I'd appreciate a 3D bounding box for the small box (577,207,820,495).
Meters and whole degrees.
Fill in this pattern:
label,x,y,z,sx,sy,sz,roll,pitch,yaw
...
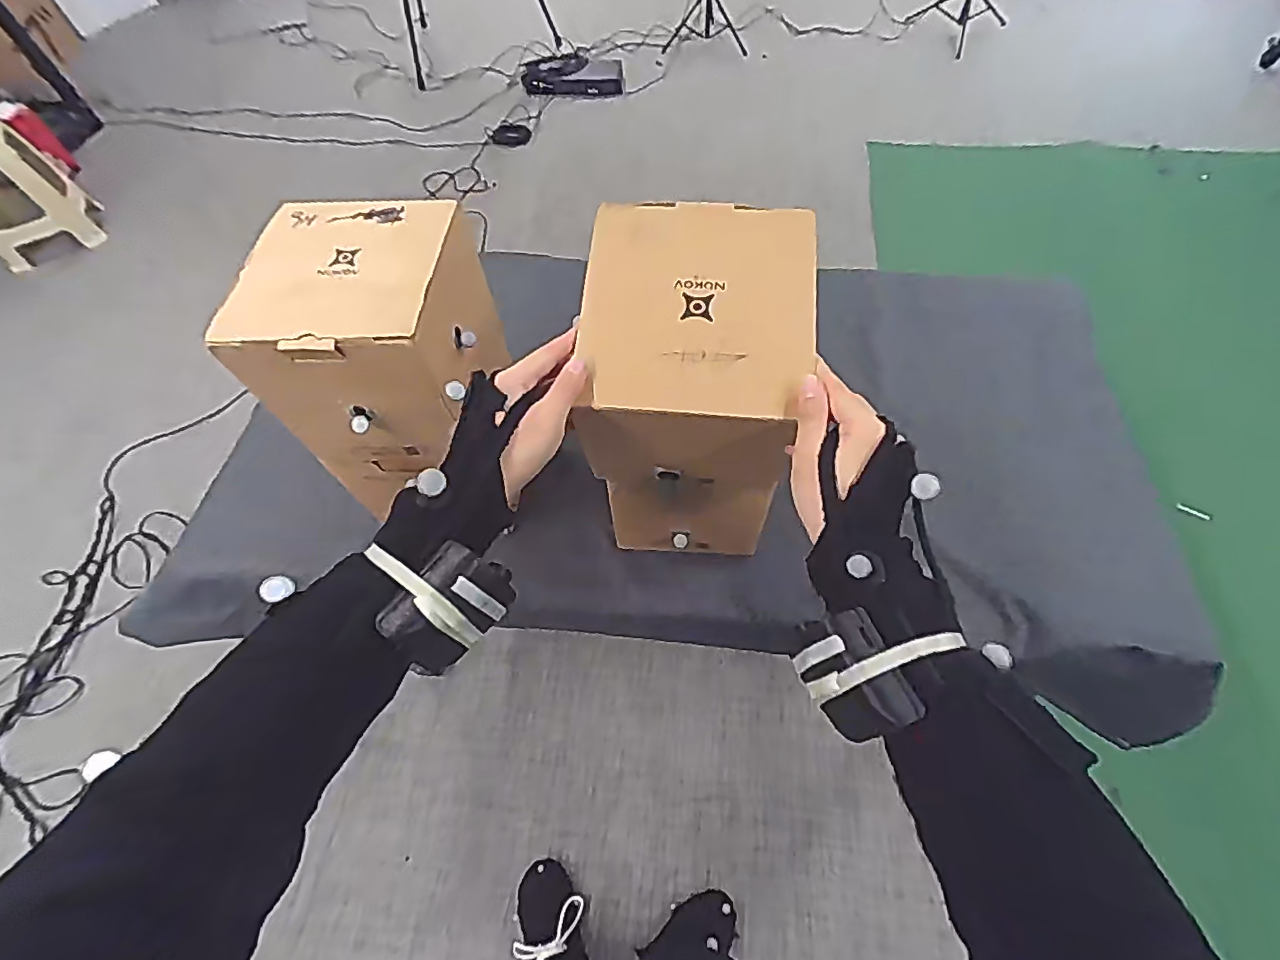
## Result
label,x,y,z,sx,sy,sz,roll,pitch,yaw
small box,0.049,-0.099,0.461,0.168,0.176,0.179,3,72,5

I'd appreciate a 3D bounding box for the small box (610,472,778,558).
label,x,y,z,sx,sy,sz,roll,pitch,yaw
small box,0.060,-0.027,0.627,0.168,0.176,0.179,2,58,5

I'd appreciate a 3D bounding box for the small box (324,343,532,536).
label,x,y,z,sx,sy,sz,roll,pitch,yaw
small box,-0.236,-0.049,0.660,0.168,0.176,0.179,1,59,3

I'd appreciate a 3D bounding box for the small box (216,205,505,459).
label,x,y,z,sx,sy,sz,roll,pitch,yaw
small box,-0.238,-0.132,0.519,0.168,0.176,0.179,0,60,3
